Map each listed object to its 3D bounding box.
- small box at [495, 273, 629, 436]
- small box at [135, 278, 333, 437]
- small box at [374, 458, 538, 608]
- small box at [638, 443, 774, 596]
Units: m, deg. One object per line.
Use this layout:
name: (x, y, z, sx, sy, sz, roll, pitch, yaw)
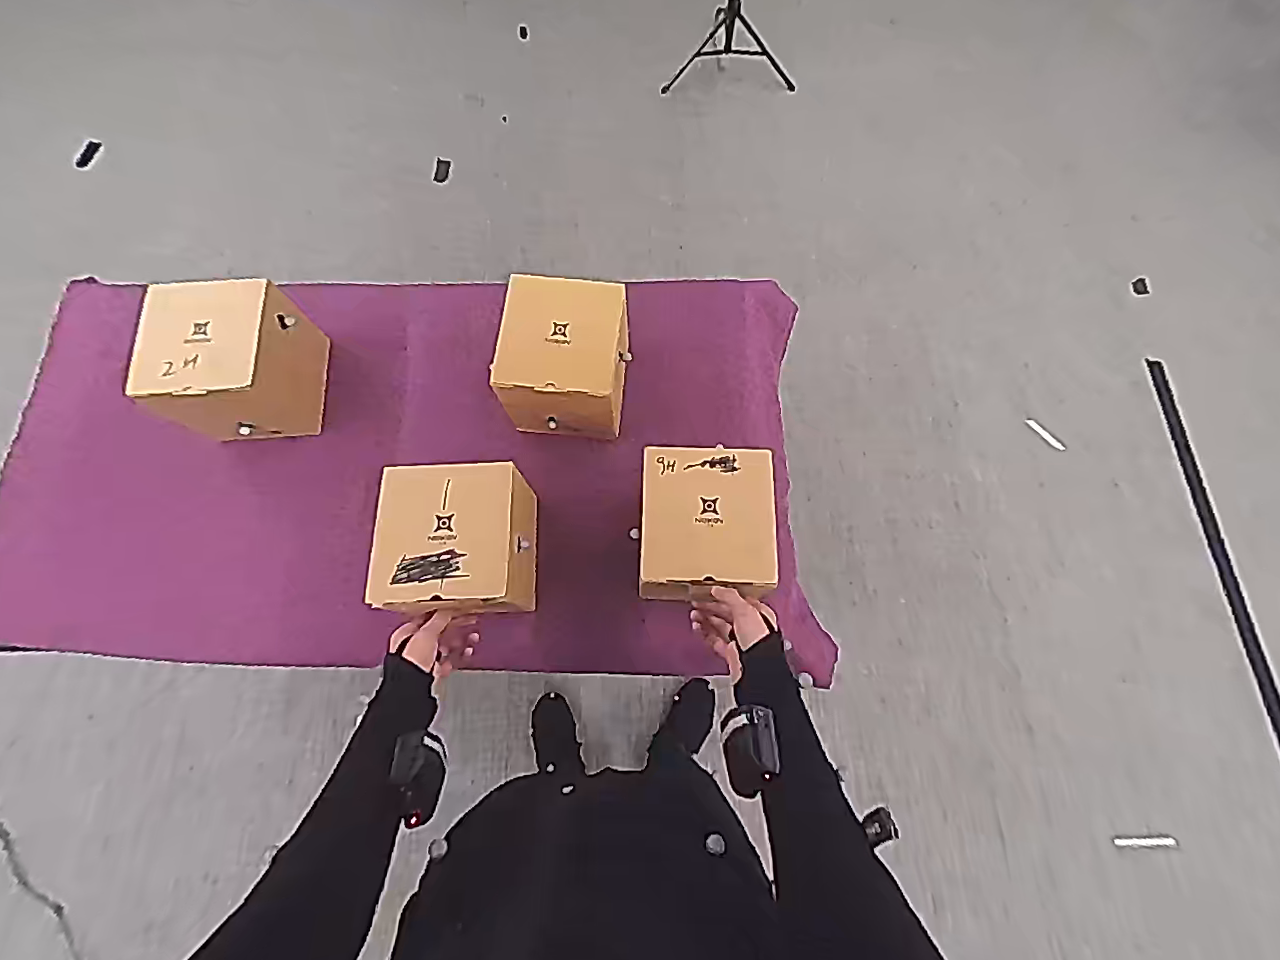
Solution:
small box: (-0.107, -0.183, 0.825, 0.168, 0.176, 0.179, 5, 74, 2)
small box: (-0.596, -0.179, 0.821, 0.168, 0.176, 0.179, -4, 73, -1)
small box: (-0.236, 0.081, 0.739, 0.168, 0.176, 0.179, -2, 71, -1)
small box: (0.085, 0.062, 0.744, 0.168, 0.176, 0.179, 2, 71, 1)
